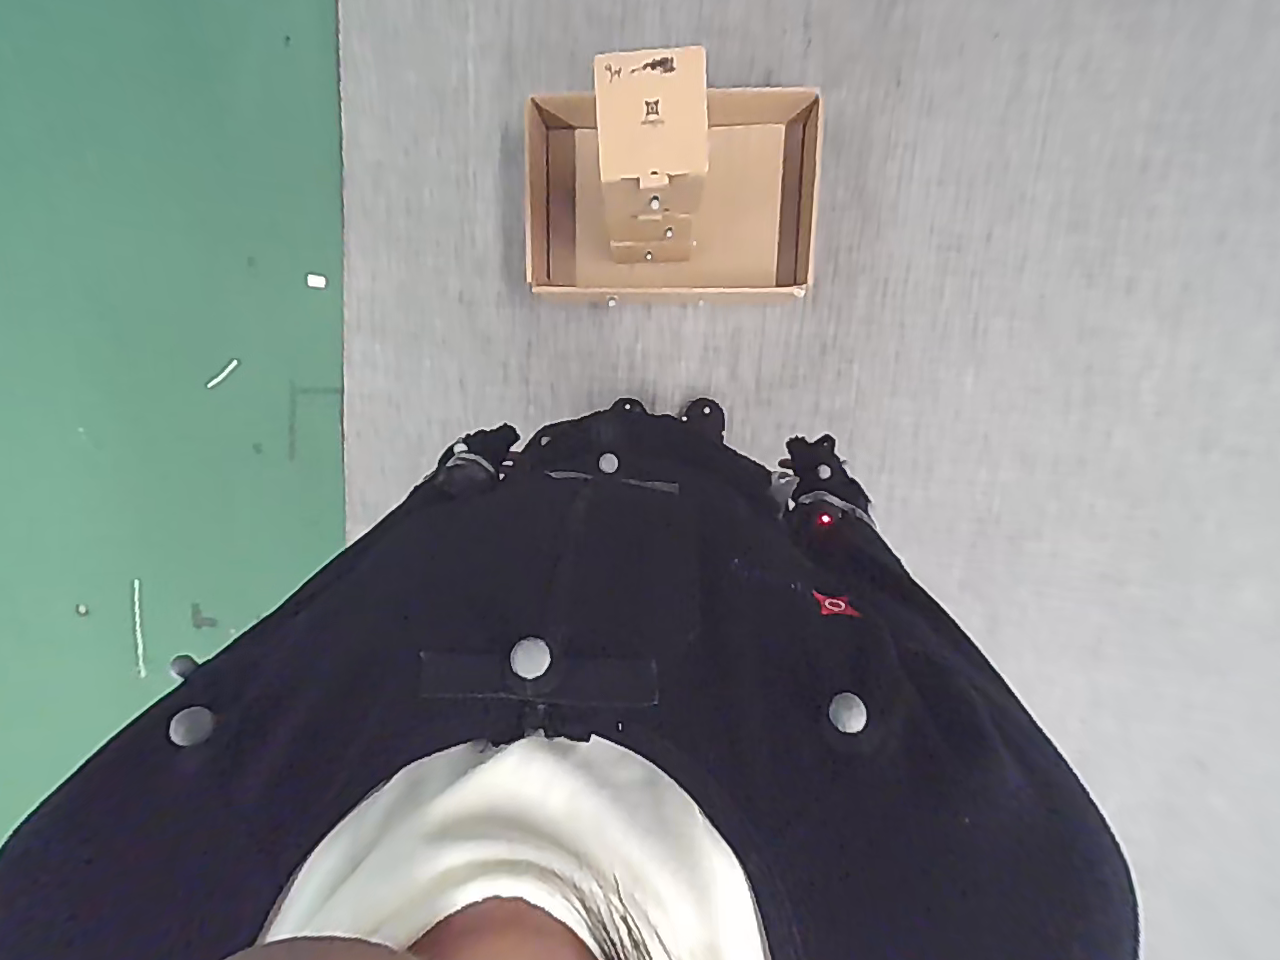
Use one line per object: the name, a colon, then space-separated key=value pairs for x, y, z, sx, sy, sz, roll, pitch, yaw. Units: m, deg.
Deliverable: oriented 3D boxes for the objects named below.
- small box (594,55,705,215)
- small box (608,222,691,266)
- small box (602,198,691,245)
small box: x=0.018 y=-0.546 z=0.881 sx=0.168 sy=0.176 sz=0.179 roll=-1 pitch=99 yaw=2
small box: x=0.024 y=-0.582 z=1.204 sx=0.179 sy=0.176 sz=0.168 roll=1 pitch=99 yaw=5
small box: x=0.018 y=-0.566 z=1.044 sx=0.168 sy=0.176 sz=0.179 roll=1 pitch=98 yaw=2
